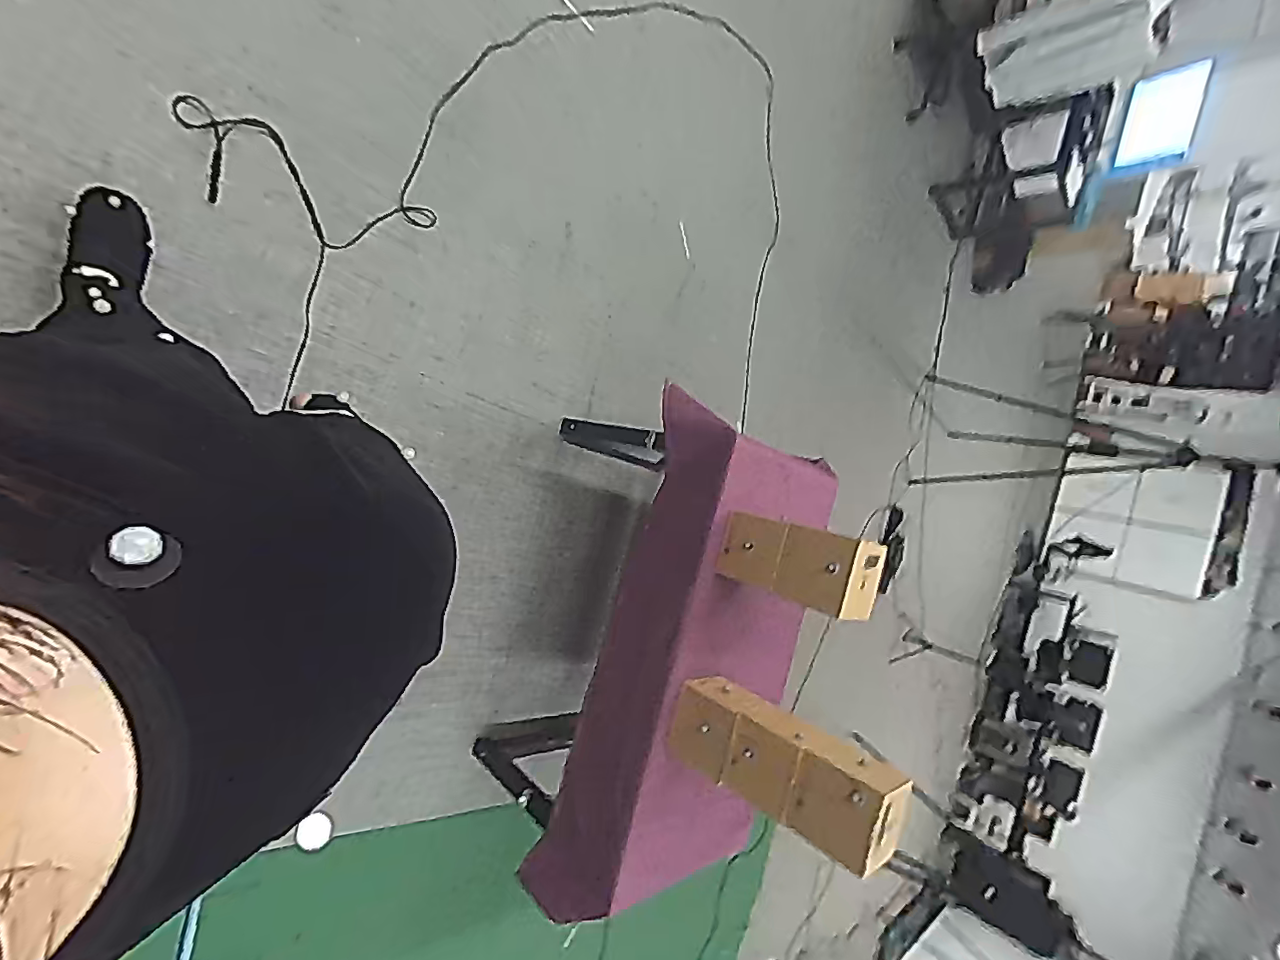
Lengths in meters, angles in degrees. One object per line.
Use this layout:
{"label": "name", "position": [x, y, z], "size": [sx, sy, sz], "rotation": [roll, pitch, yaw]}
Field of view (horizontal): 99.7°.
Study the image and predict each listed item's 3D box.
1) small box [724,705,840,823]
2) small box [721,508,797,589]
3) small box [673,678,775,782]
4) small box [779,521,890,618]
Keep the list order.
{"label": "small box", "position": [0.322, 0.630, 1.227], "size": [0.179, 0.176, 0.168], "rotation": [17, 88, -45]}
{"label": "small box", "position": [0.327, 0.174, 1.351], "size": [0.179, 0.176, 0.168], "rotation": [16, 89, -45]}
{"label": "small box", "position": [0.204, 0.604, 1.337], "size": [0.168, 0.176, 0.179], "rotation": [15, 89, -45]}
{"label": "small box", "position": [0.440, 0.201, 1.234], "size": [0.168, 0.176, 0.179], "rotation": [16, 90, -45]}
